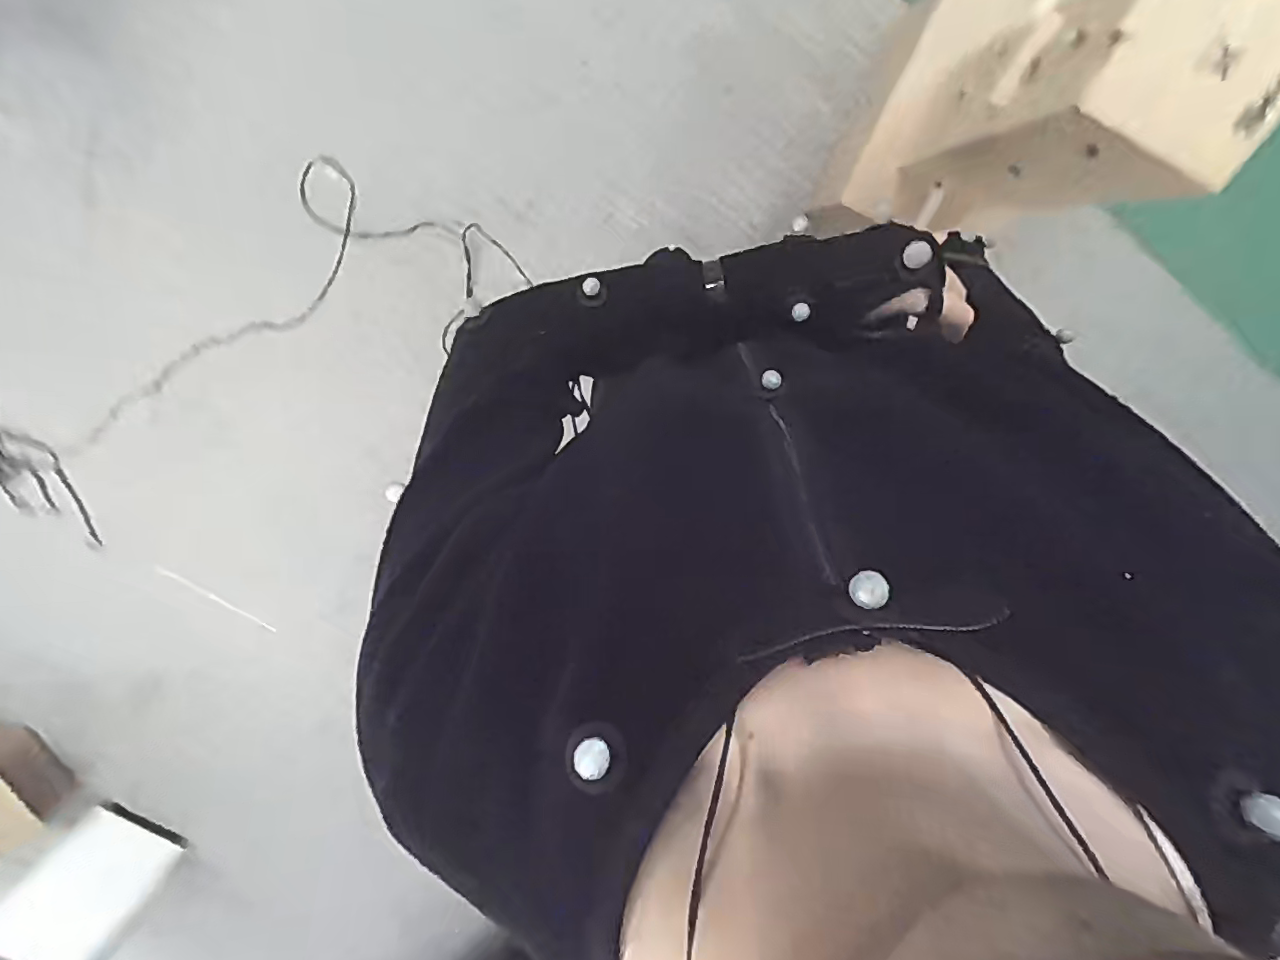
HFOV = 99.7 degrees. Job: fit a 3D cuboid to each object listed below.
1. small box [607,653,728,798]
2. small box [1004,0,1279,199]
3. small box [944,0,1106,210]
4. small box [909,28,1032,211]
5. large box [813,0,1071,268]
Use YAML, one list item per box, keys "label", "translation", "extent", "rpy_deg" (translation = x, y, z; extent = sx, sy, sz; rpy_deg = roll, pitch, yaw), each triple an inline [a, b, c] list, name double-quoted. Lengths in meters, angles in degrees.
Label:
- label: "small box"
  translation: [0.056, 0.441, 0.994]
  extent: [0.168, 0.176, 0.179]
  rpy_deg: [-18, 111, 15]
- label: "small box"
  translation: [0.538, -0.415, 0.565]
  extent: [0.179, 0.176, 0.168]
  rpy_deg: [27, 114, -4]
- label: "small box"
  translation: [0.550, -0.478, 0.716]
  extent: [0.179, 0.176, 0.168]
  rpy_deg: [28, 114, -6]
- label: "small box"
  translation: [0.566, -0.554, 0.861]
  extent: [0.168, 0.176, 0.179]
  rpy_deg: [26, 114, -4]
- label: "large box"
  translation: [0.599, -0.676, 1.073]
  extent: [0.320, 0.320, 0.408]
  rpy_deg: [22, 113, -5]
